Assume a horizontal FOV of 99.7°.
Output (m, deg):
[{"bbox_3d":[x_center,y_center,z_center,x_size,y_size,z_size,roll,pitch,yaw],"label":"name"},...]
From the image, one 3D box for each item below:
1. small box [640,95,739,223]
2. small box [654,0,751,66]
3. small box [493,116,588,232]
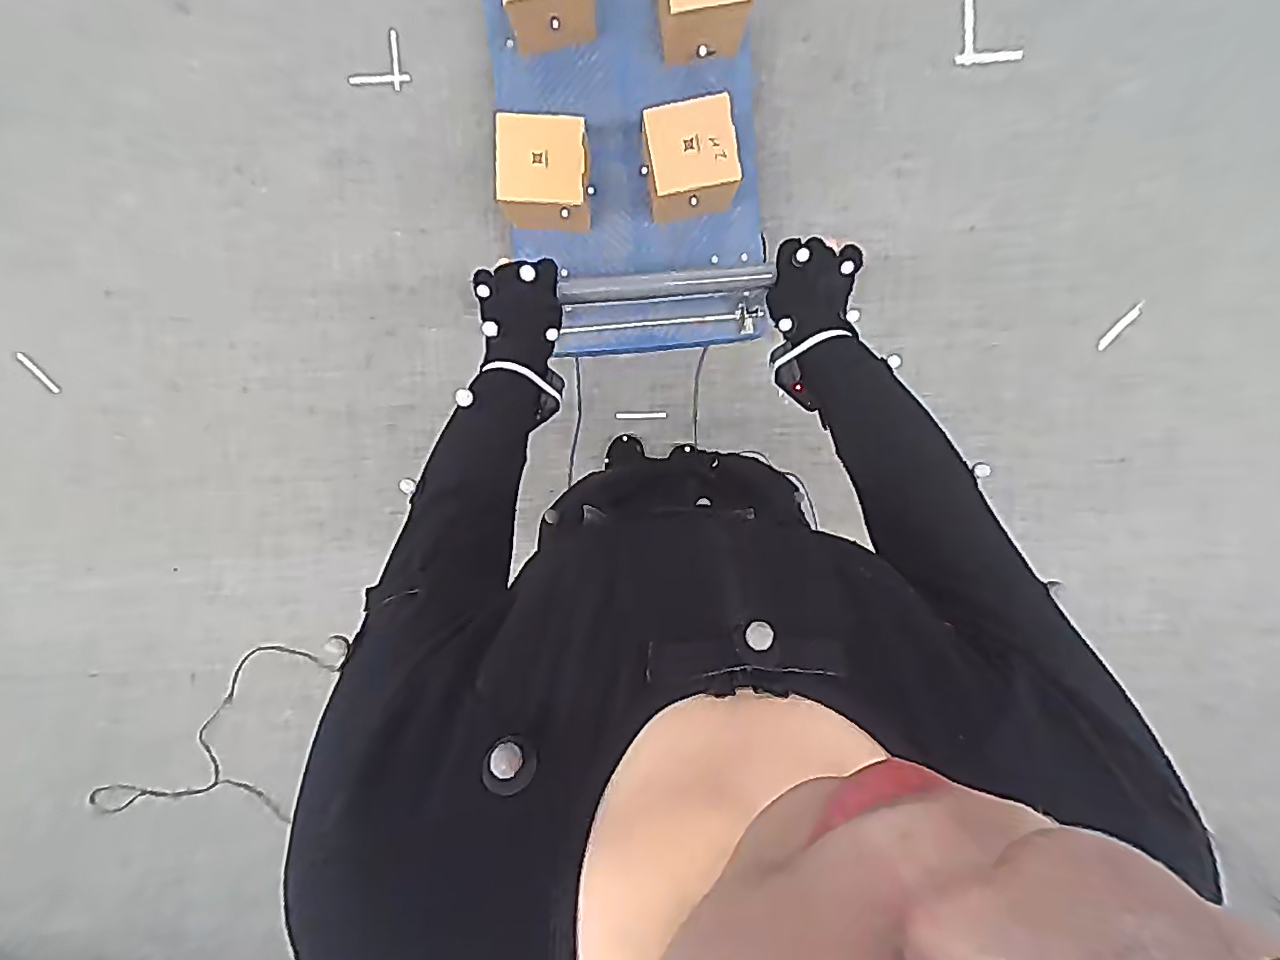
[{"bbox_3d":[0.099,-0.669,1.149,0.179,0.176,0.168,-11,97,1],"label":"small box"},{"bbox_3d":[0.120,-1.004,1.108,0.168,0.176,0.179,-9,98,1],"label":"small box"},{"bbox_3d":[-0.205,-0.641,1.150,0.179,0.176,0.168,1,96,-2],"label":"small box"}]
